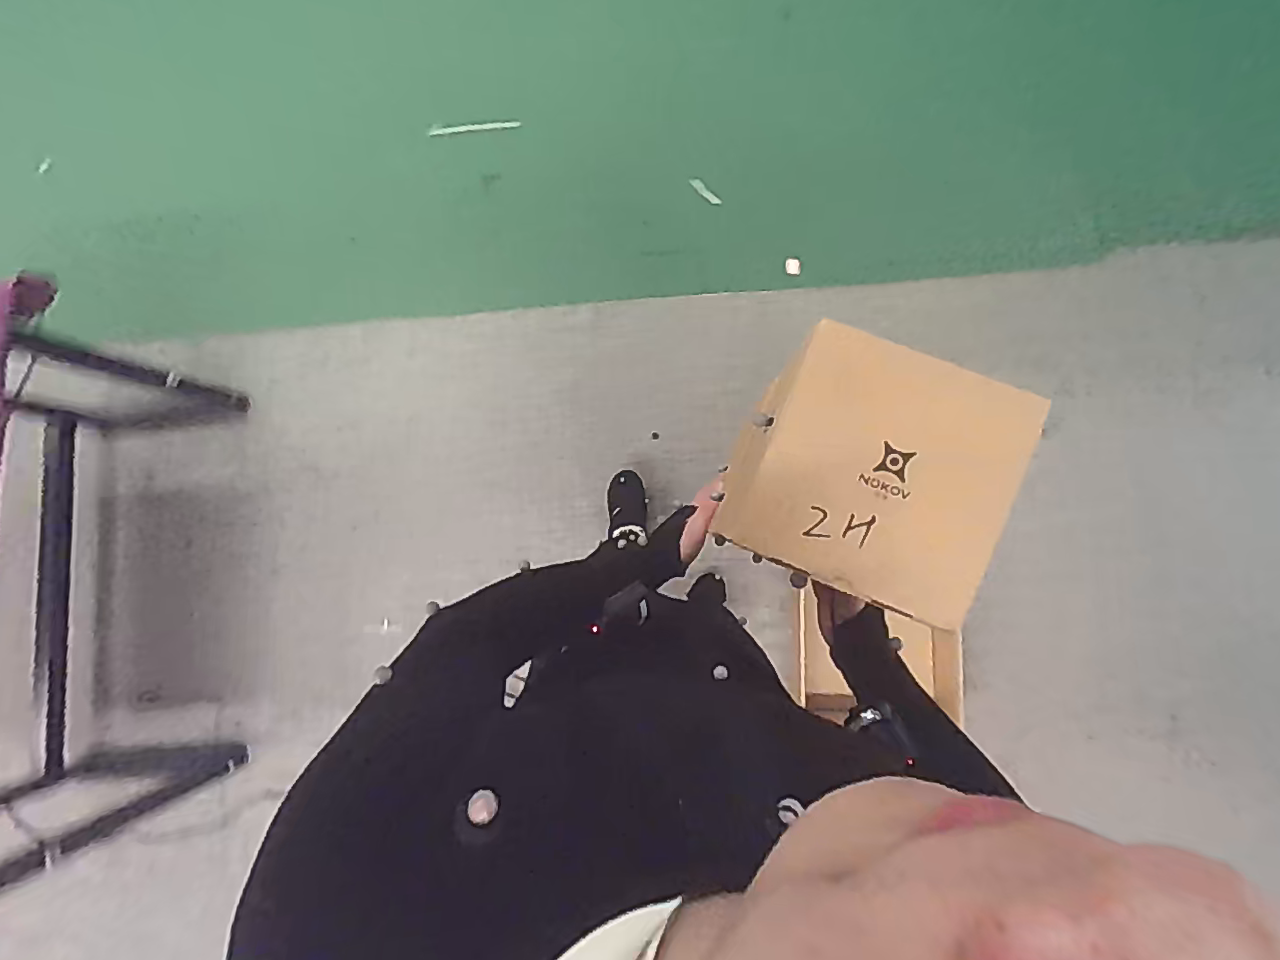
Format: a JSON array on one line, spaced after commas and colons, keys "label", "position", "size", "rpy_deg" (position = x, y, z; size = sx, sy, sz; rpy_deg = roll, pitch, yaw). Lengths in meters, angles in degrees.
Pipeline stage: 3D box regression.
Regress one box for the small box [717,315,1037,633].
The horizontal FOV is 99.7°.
[{"label": "small box", "position": [0.168, -0.003, 0.447], "size": [0.168, 0.176, 0.179], "rpy_deg": [21, 90, 6]}]
